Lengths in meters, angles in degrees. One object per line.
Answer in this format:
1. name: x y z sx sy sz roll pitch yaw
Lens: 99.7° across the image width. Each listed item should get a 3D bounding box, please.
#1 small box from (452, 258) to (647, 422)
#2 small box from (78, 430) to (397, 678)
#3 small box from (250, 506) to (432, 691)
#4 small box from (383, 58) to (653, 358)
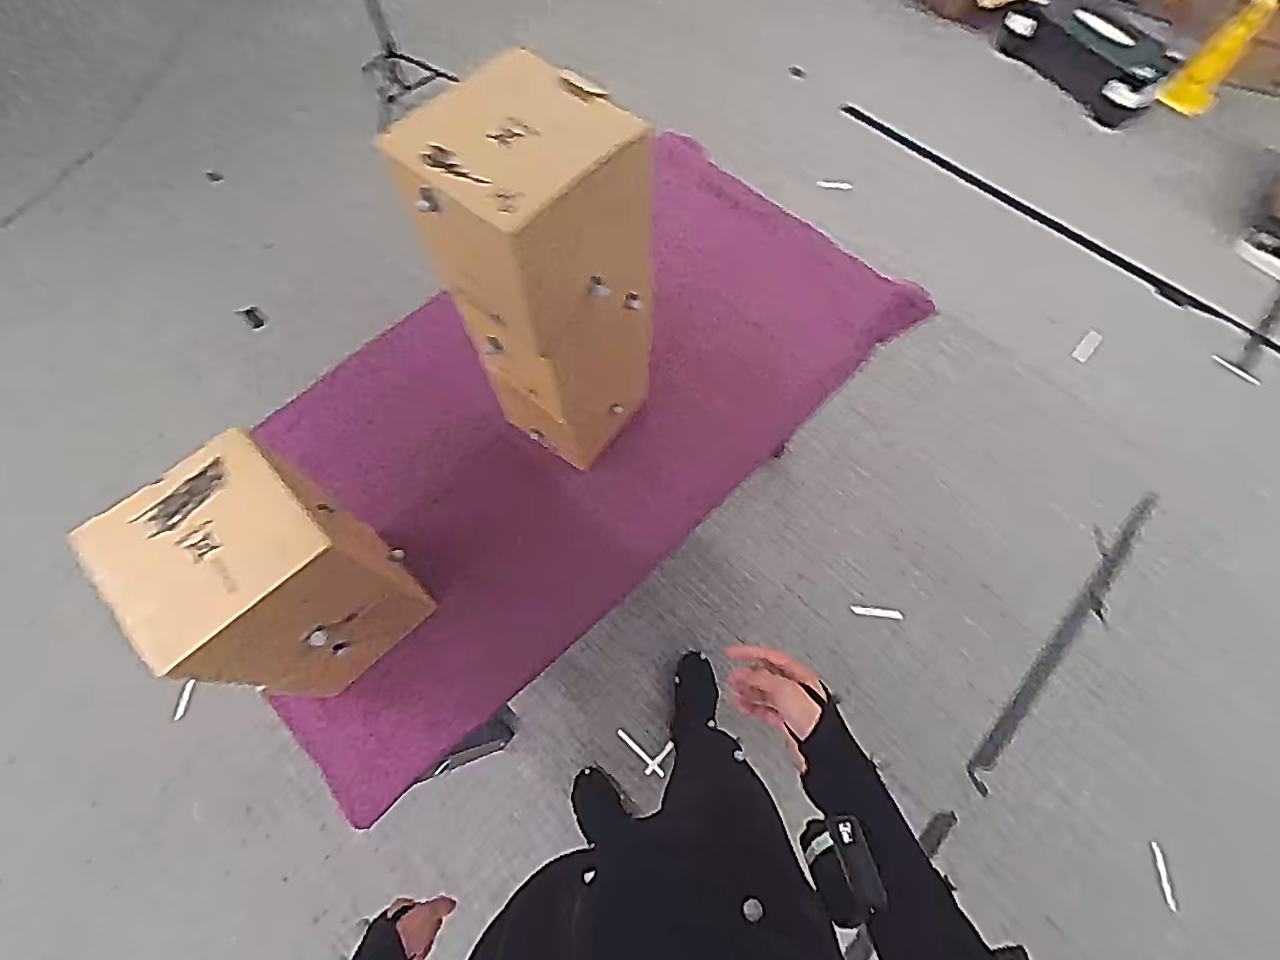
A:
1. small box: -0.105 -0.206 0.694 0.168 0.176 0.179 39 72 14
2. small box: -0.395 0.087 0.564 0.168 0.176 0.179 -42 74 -17
3. small box: -0.411 0.158 0.713 0.179 0.176 0.168 -41 74 -17
4. small box: -0.107 -0.261 0.540 0.168 0.176 0.179 39 71 15
